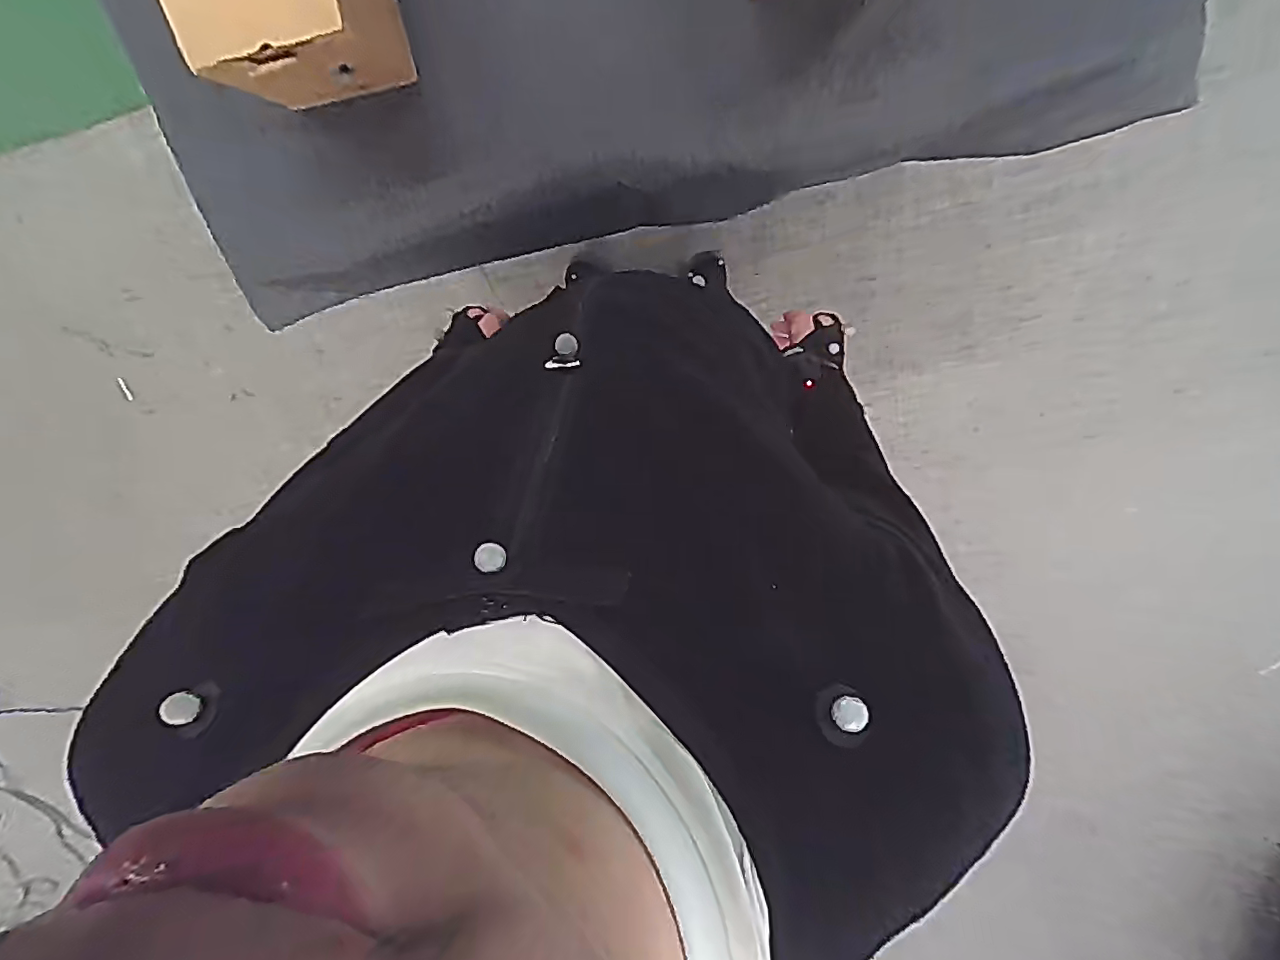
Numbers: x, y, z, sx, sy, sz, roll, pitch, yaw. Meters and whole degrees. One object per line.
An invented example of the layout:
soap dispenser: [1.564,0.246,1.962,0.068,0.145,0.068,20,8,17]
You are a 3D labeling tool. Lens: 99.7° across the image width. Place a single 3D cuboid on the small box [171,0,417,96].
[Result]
small box: [-0.356,-0.521,0.552,0.168,0.176,0.179,-9,112,5]
